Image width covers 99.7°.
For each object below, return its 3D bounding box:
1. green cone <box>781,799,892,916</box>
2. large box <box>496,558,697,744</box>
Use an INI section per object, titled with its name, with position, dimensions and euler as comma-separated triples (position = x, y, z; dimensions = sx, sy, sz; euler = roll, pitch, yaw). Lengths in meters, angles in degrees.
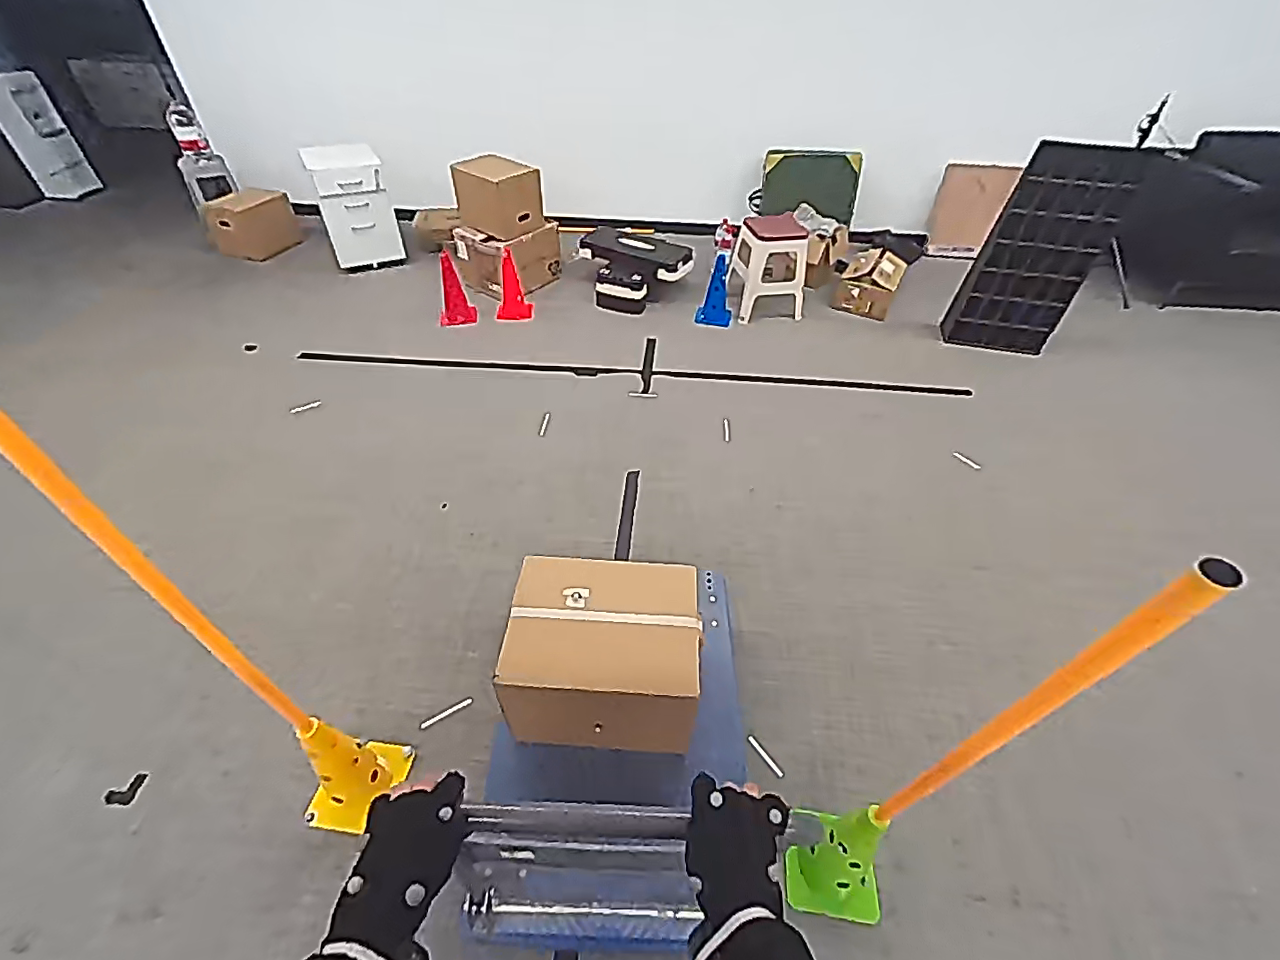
[green cone]
position = 0.440, 0.752, 1.137
dimensions = 0.202, 0.368, 0.200
euler = 8, 44, 4
[large box]
position = -0.079, 0.403, 1.271
dimensions = 0.408, 0.320, 0.320
euler = 3, 45, 2
